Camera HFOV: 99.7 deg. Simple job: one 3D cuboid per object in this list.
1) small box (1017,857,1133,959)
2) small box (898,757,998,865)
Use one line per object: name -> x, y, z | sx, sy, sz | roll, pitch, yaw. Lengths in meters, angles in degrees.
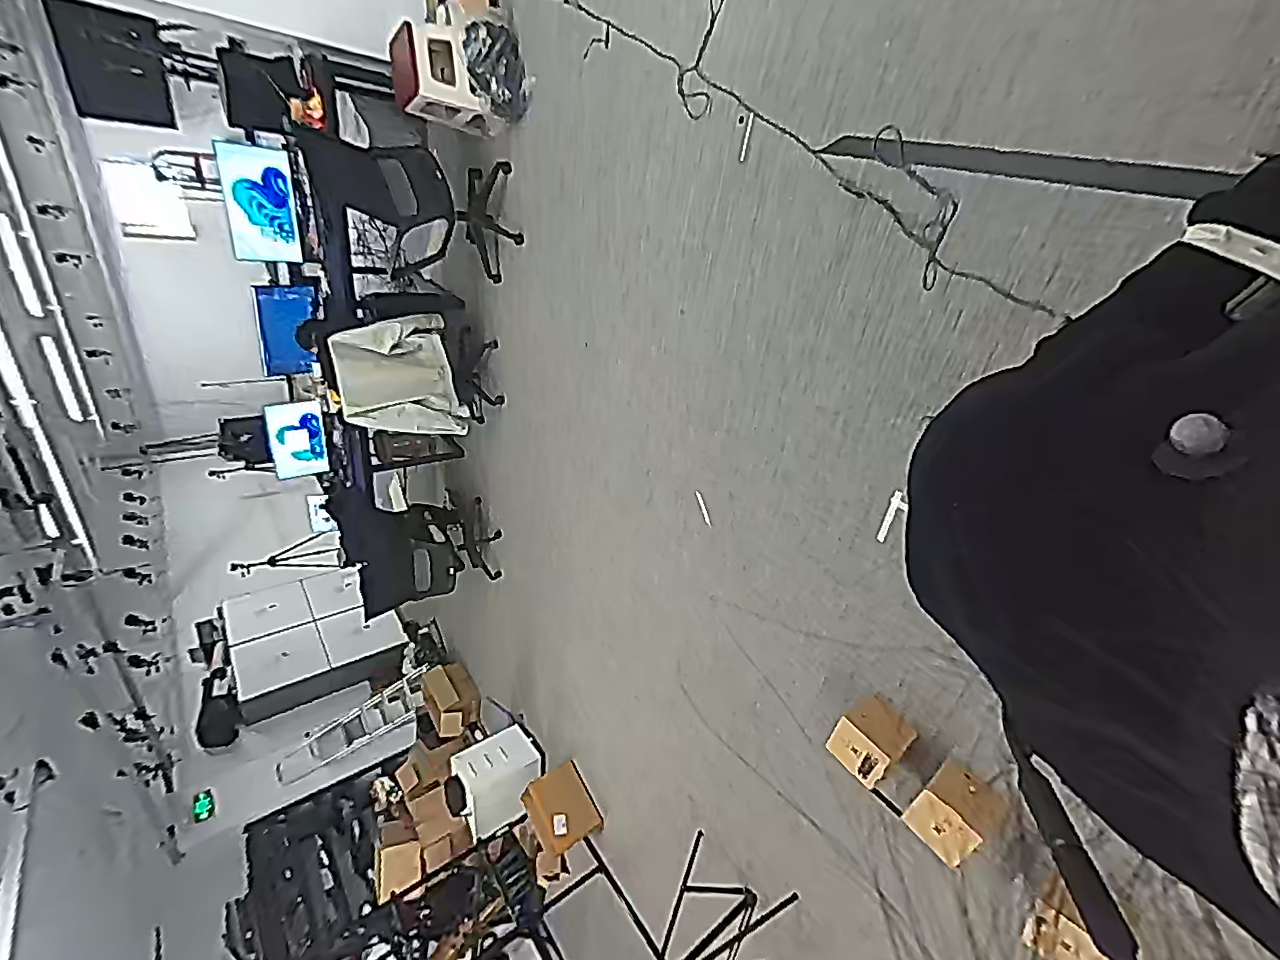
small box -> 1.095, 1.110, 1.359 | 0.179, 0.176, 0.168 | 23, 119, 45
small box -> 0.892, 0.949, 1.562 | 0.168, 0.176, 0.179 | 40, 130, 37
